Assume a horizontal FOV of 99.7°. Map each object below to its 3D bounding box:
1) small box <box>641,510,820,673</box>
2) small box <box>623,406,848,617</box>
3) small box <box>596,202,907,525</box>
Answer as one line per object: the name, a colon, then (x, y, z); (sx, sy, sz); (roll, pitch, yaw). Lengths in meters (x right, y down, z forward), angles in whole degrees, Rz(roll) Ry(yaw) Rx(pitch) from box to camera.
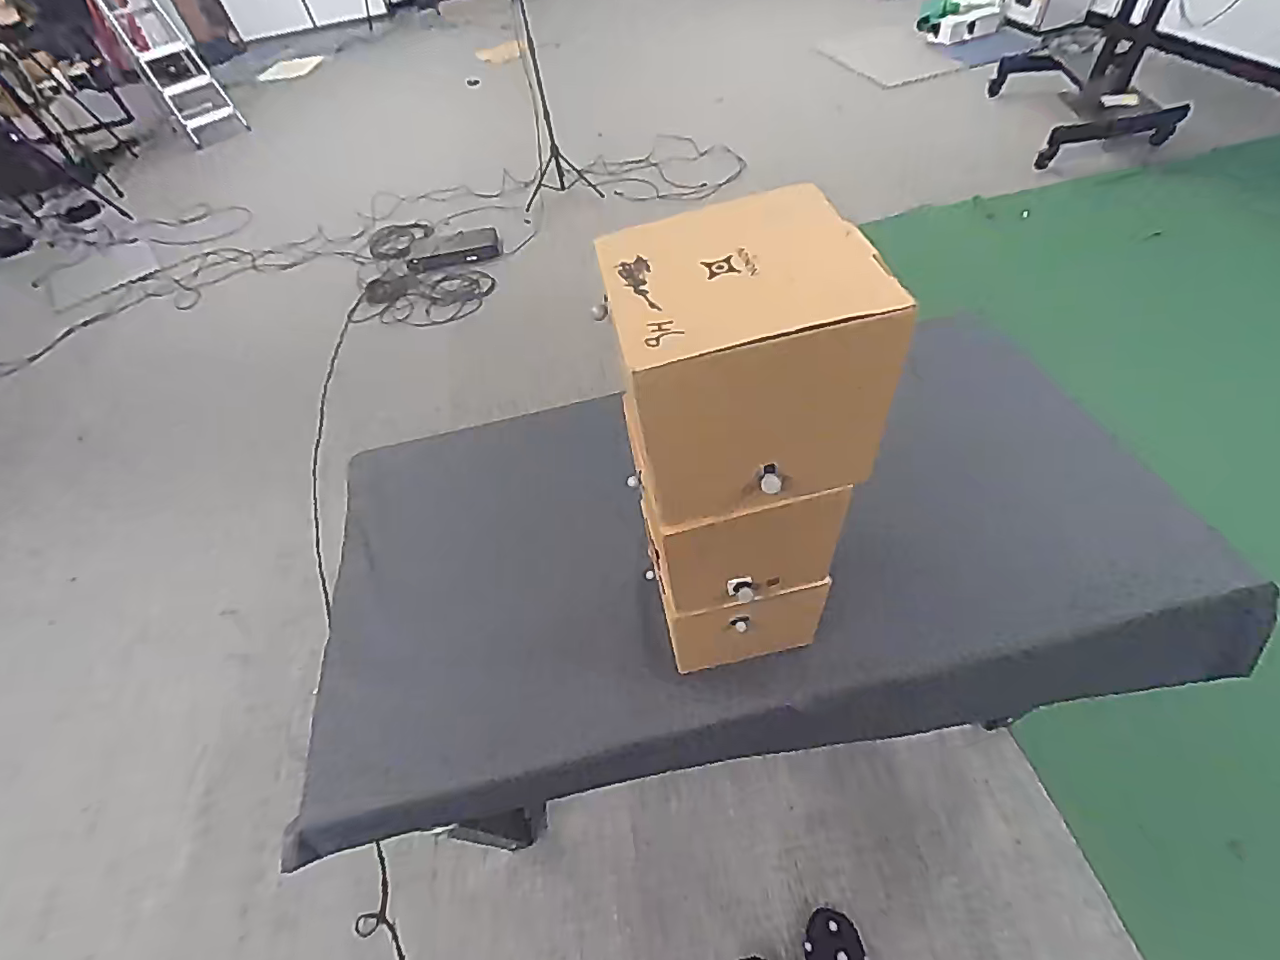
small box: (0.108, 0.130, 0.694); (0.179, 0.176, 0.168); (-12, 51, -2)
small box: (0.087, 0.014, 0.560); (0.168, 0.176, 0.179); (-15, 52, -2)
small box: (0.072, -0.087, 0.432); (0.179, 0.176, 0.168); (-13, 50, -1)
